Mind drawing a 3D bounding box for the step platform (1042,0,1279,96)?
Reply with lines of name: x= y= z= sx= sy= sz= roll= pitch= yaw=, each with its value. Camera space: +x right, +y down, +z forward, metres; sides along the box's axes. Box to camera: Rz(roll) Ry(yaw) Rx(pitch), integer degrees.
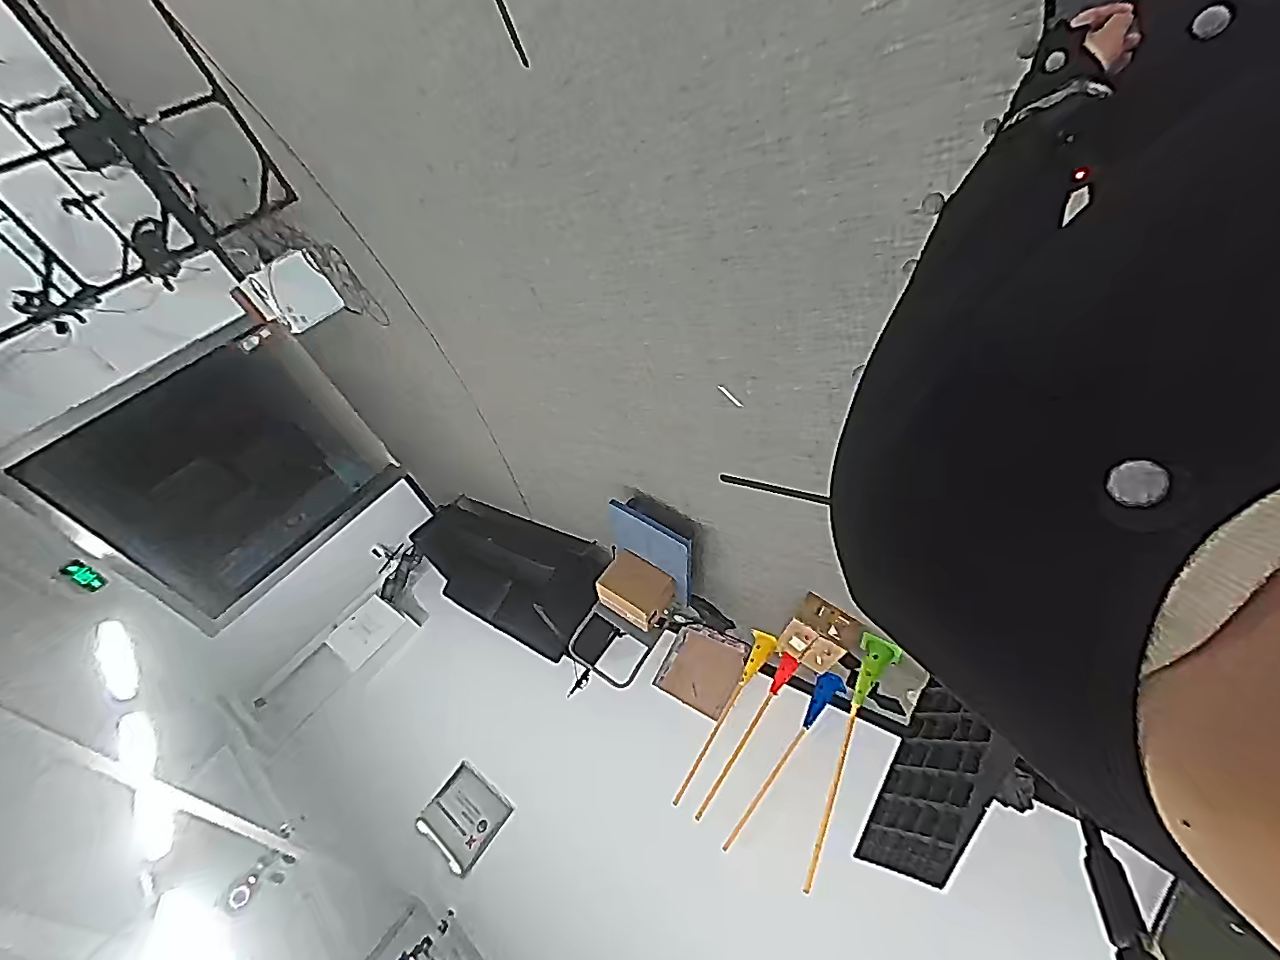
step platform: x=0.976 y=-0.759 z=0.734 sx=0.684 sy=0.204 sz=0.286 roll=19 pitch=143 yaw=39
